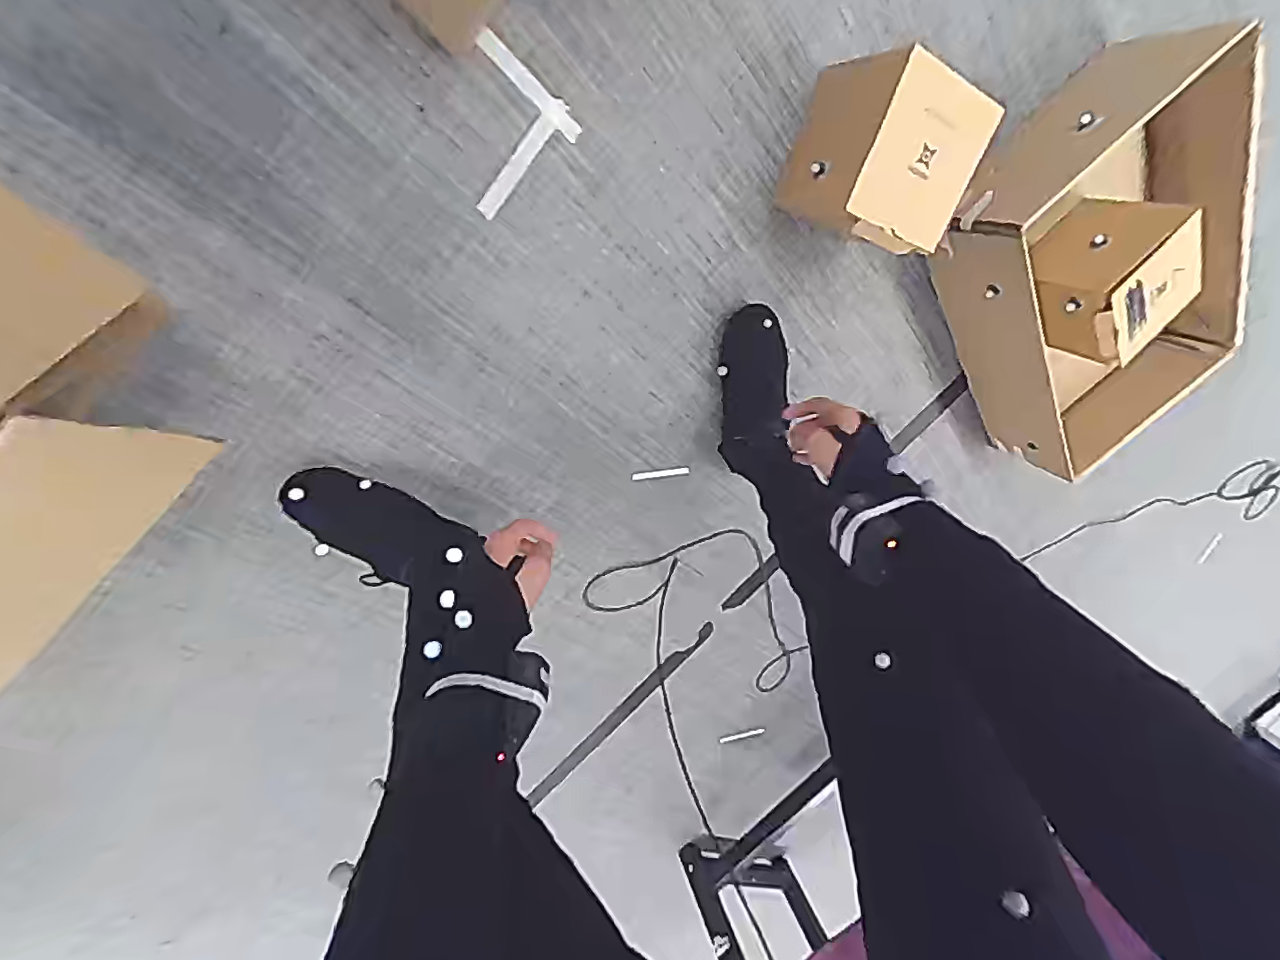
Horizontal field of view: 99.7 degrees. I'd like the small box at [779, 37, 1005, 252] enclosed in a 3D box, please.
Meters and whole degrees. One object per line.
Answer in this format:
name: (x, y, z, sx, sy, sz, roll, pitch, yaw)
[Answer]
small box: (0.310, -0.423, 0.706, 0.168, 0.176, 0.179, 9, 114, -27)
